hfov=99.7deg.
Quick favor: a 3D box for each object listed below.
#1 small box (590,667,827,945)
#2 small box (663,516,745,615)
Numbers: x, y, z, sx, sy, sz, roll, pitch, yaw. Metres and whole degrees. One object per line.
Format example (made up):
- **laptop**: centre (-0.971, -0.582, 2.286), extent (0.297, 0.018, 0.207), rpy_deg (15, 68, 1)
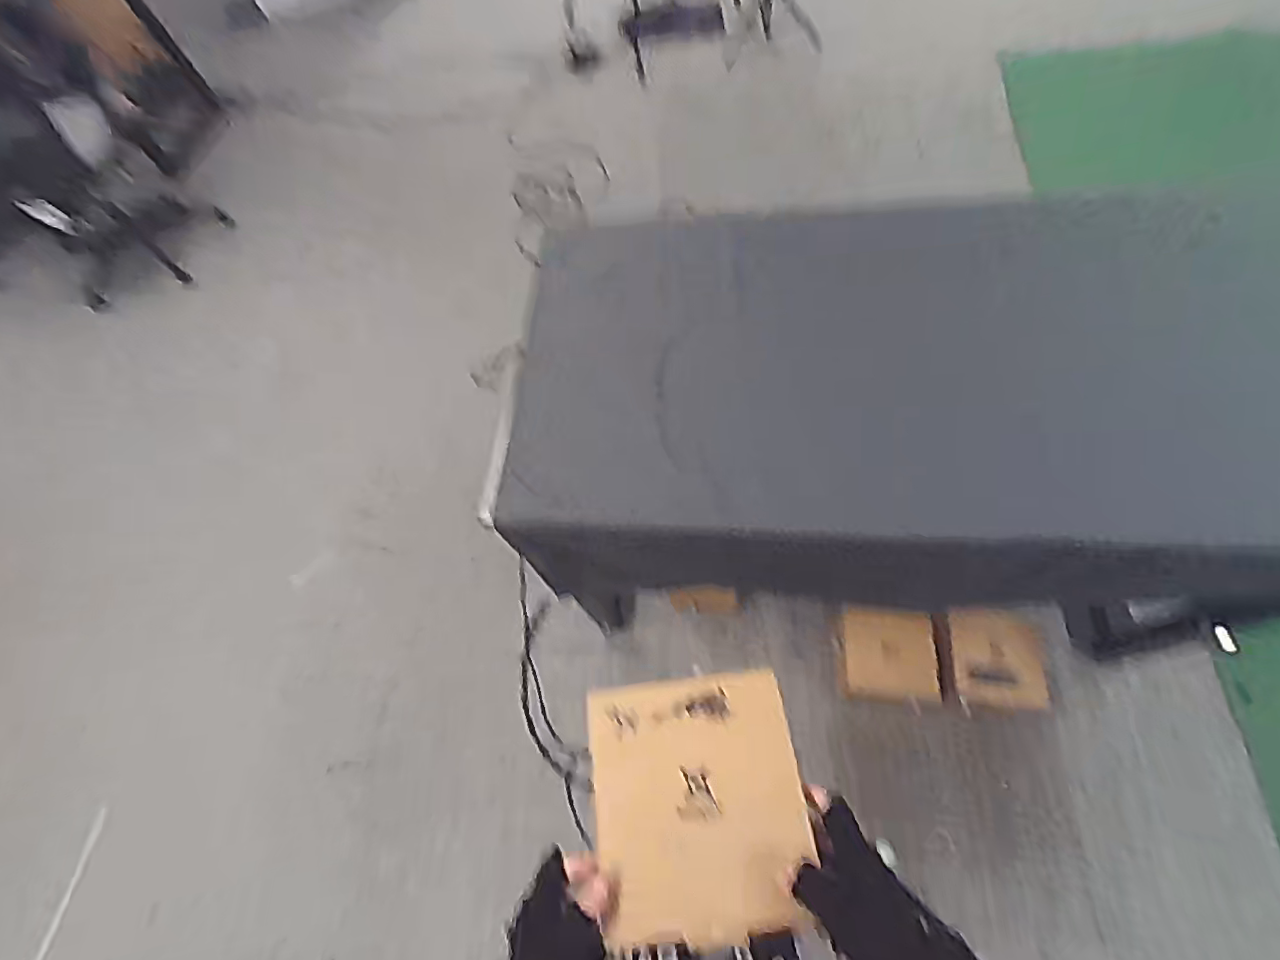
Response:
- **small box**: centre (0.050, 0.282, 0.492), extent (0.168, 0.176, 0.179), rpy_deg (-7, 60, -1)
- **small box**: centre (0.157, 0.211, 1.315), extent (0.168, 0.176, 0.179), rpy_deg (8, 63, 13)
